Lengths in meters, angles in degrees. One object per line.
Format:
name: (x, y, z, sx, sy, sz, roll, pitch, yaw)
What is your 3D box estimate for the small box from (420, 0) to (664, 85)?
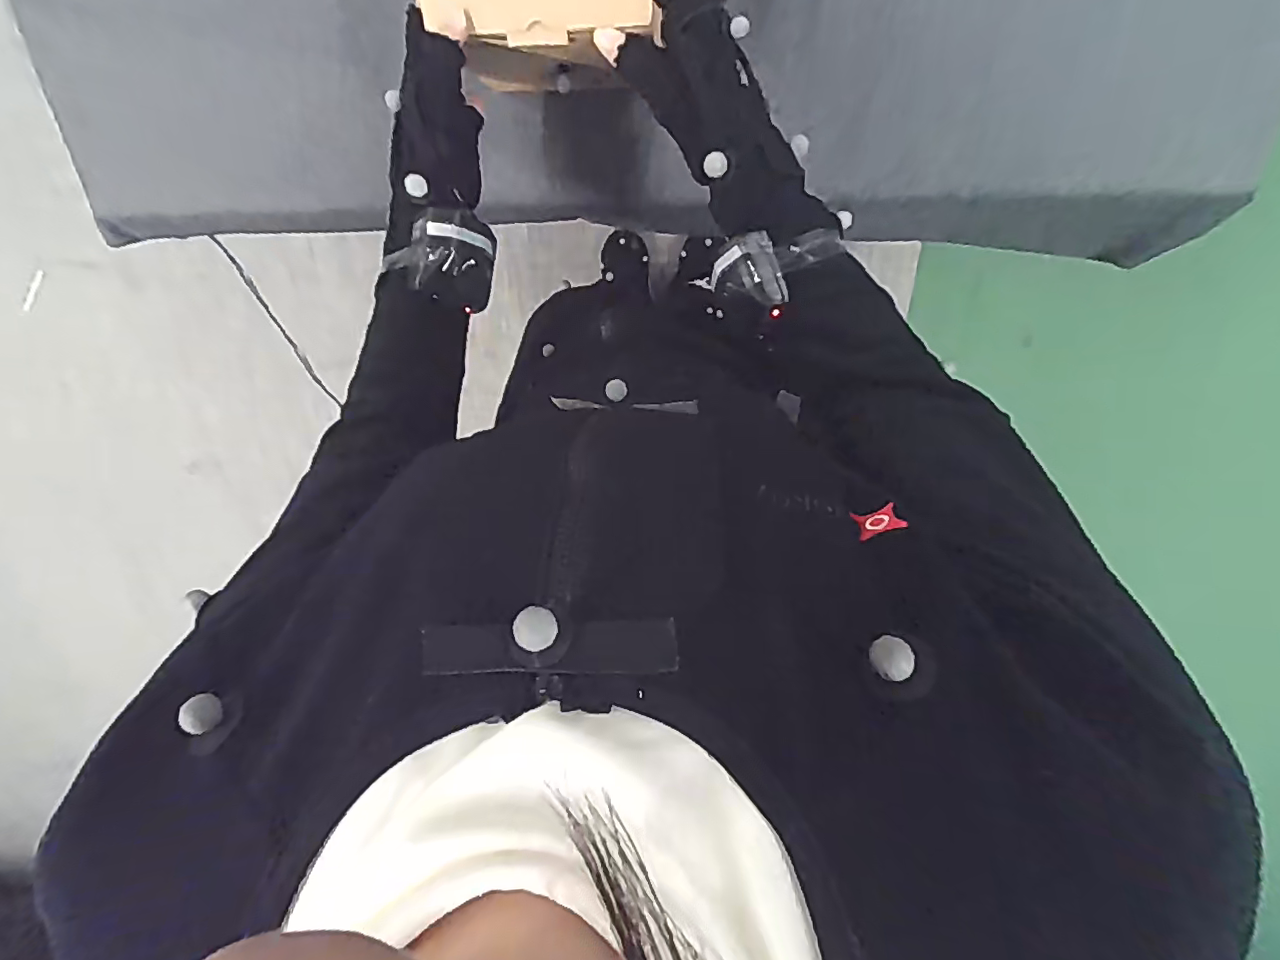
small box: (-0.067, -0.425, 0.421, 0.168, 0.176, 0.179, 2, 116, 5)

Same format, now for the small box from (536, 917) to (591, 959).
small box: (-0.275, 1.719, 1.945, 0.179, 0.176, 0.168, 3, 114, 6)
